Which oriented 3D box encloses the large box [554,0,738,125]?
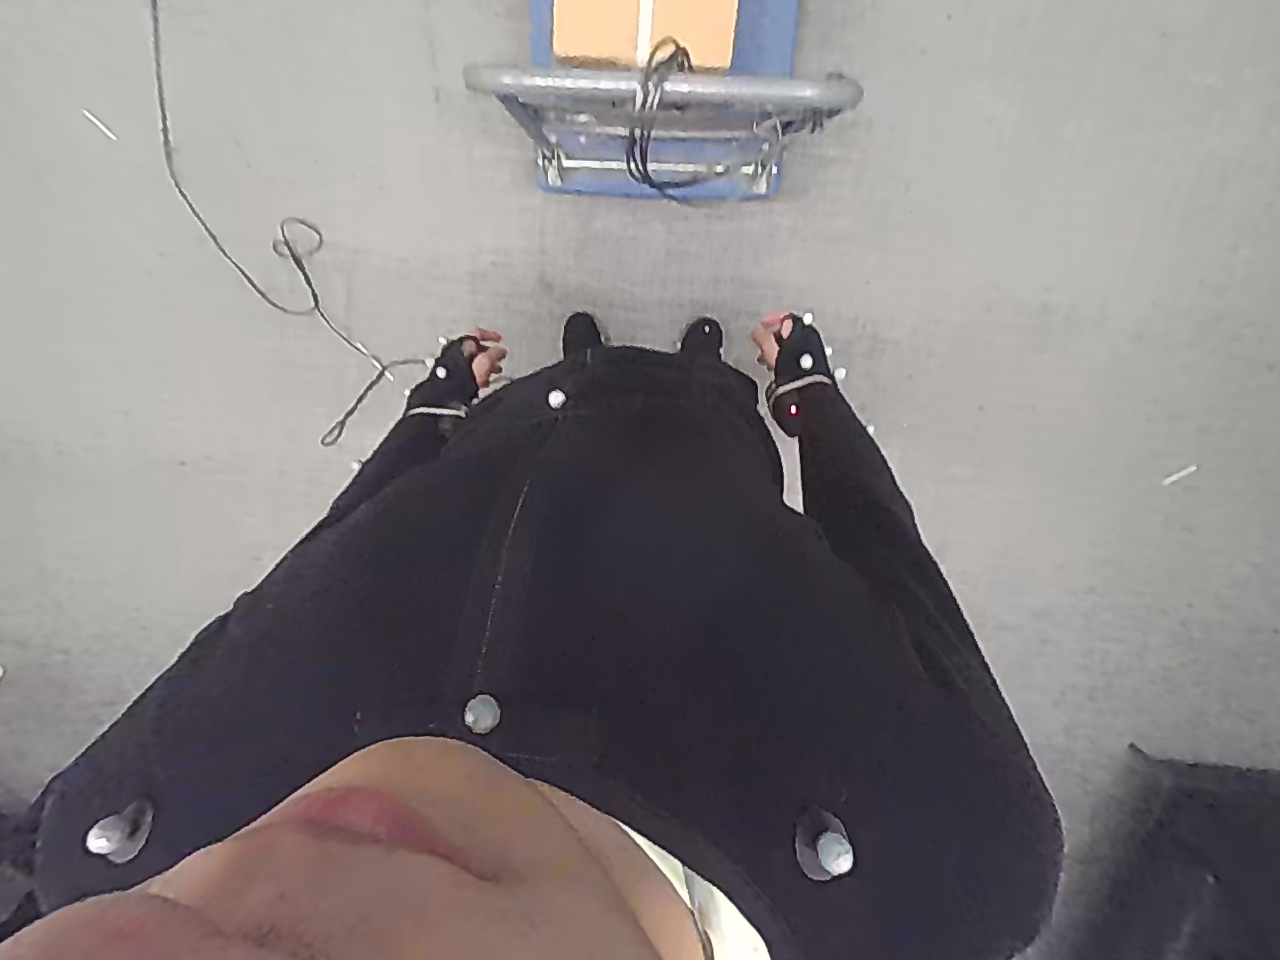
[{"bbox_3d":[0.023,-0.956,1.029,0.320,0.320,0.408,5,107,0],"label":"large box"}]
